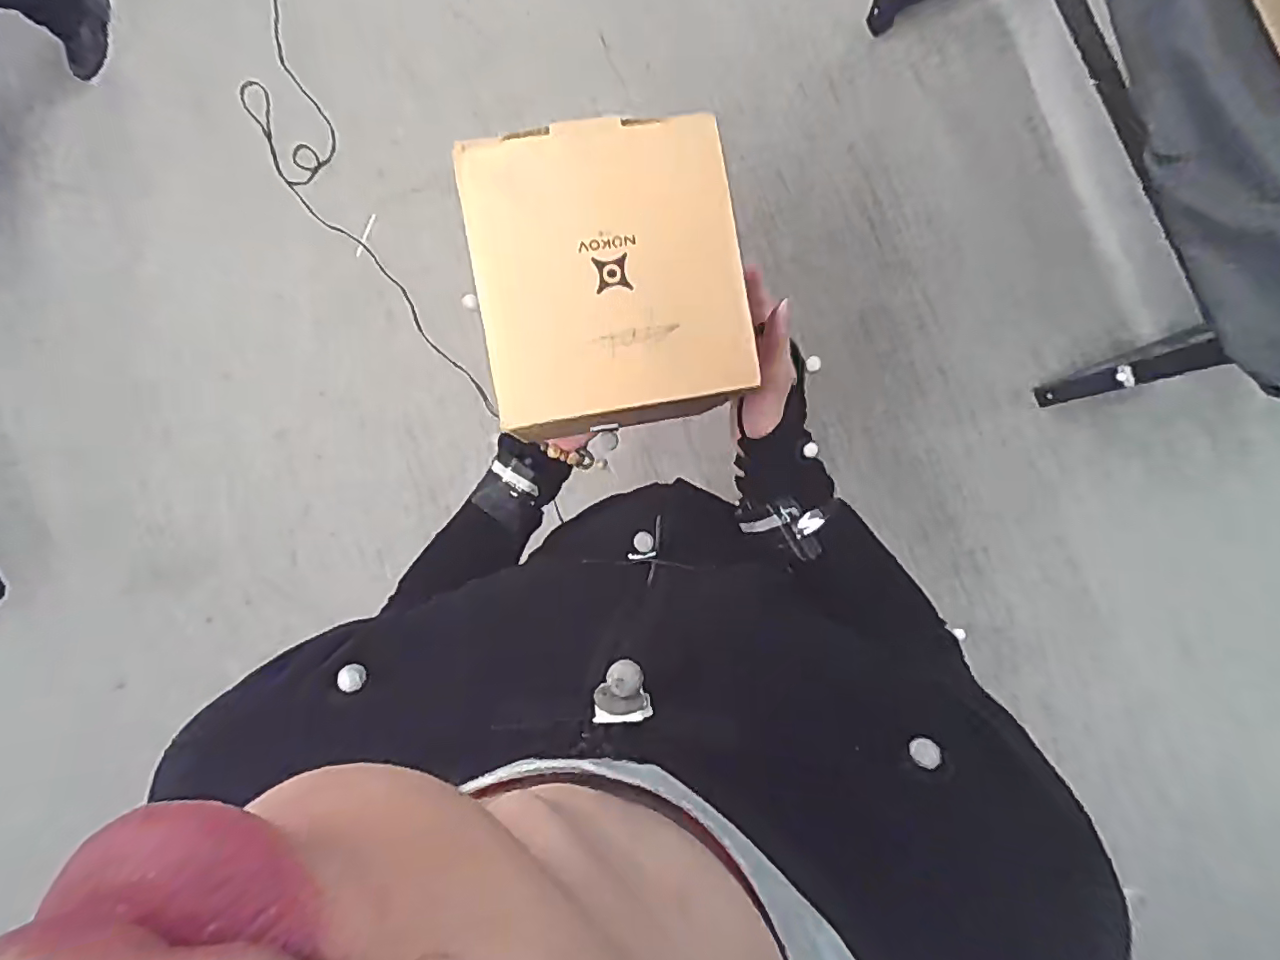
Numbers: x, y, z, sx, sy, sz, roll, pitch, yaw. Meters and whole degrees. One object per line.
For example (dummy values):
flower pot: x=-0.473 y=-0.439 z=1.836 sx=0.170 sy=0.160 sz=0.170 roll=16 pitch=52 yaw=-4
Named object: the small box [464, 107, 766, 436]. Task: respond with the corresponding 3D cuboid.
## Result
small box: x=-0.022 y=-0.136 z=0.411 sx=0.168 sy=0.176 sz=0.179 roll=-10 pitch=92 yaw=-5
